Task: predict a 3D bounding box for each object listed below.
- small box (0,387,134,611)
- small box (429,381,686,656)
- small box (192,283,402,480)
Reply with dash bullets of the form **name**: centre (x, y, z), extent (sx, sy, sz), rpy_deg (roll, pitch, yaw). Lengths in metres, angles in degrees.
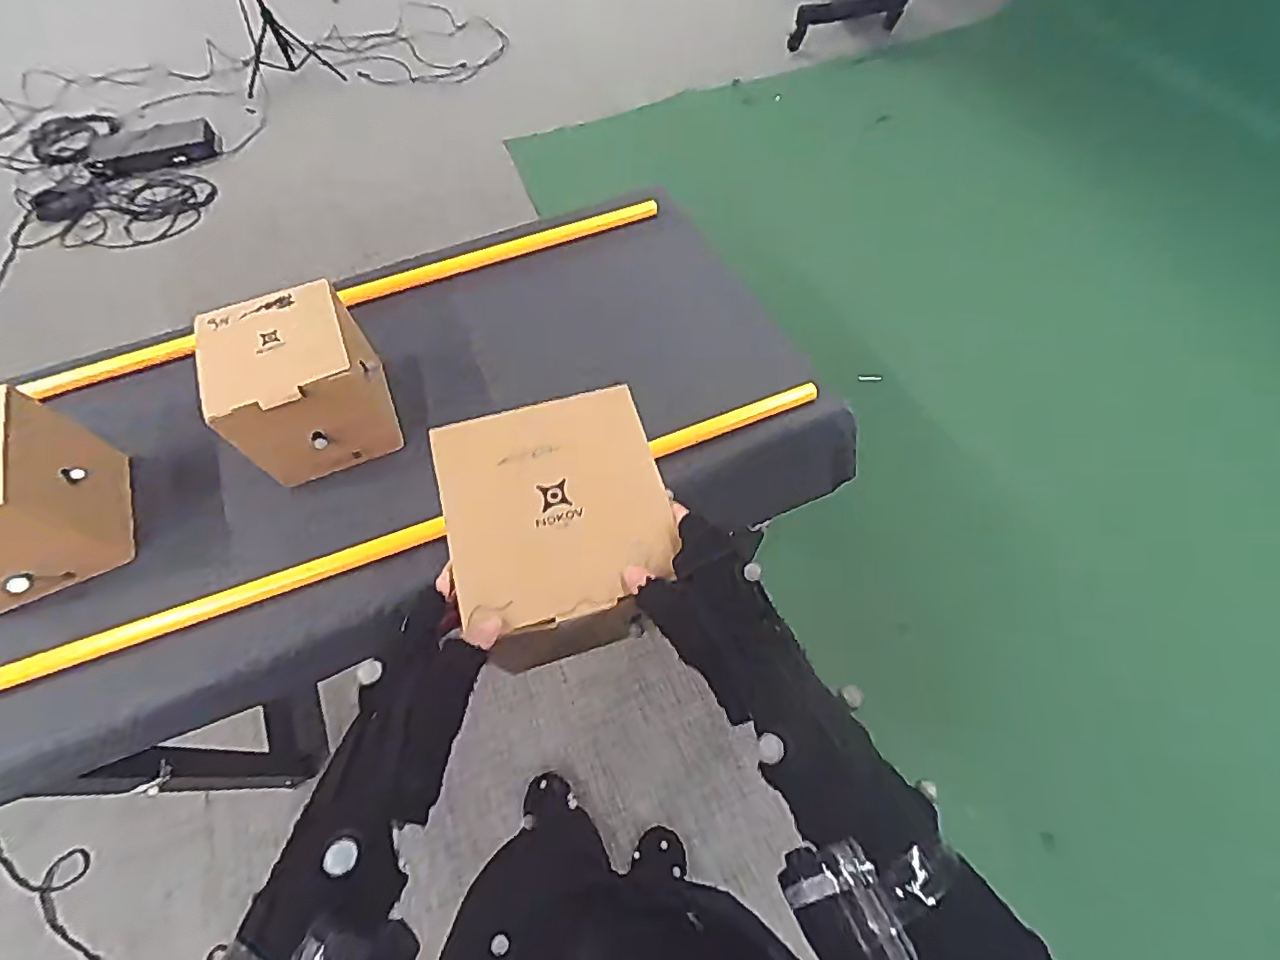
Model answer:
- **small box**: centre (-0.755, 0.028, 0.641), extent (0.168, 0.176, 0.179), rpy_deg (-24, 64, -13)
- **small box**: centre (-0.069, 0.046, 0.481), extent (0.168, 0.176, 0.179), rpy_deg (-15, 65, -10)
- **small box**: centre (-0.447, -0.122, 0.726), extent (0.168, 0.176, 0.179), rpy_deg (-25, 63, -12)
